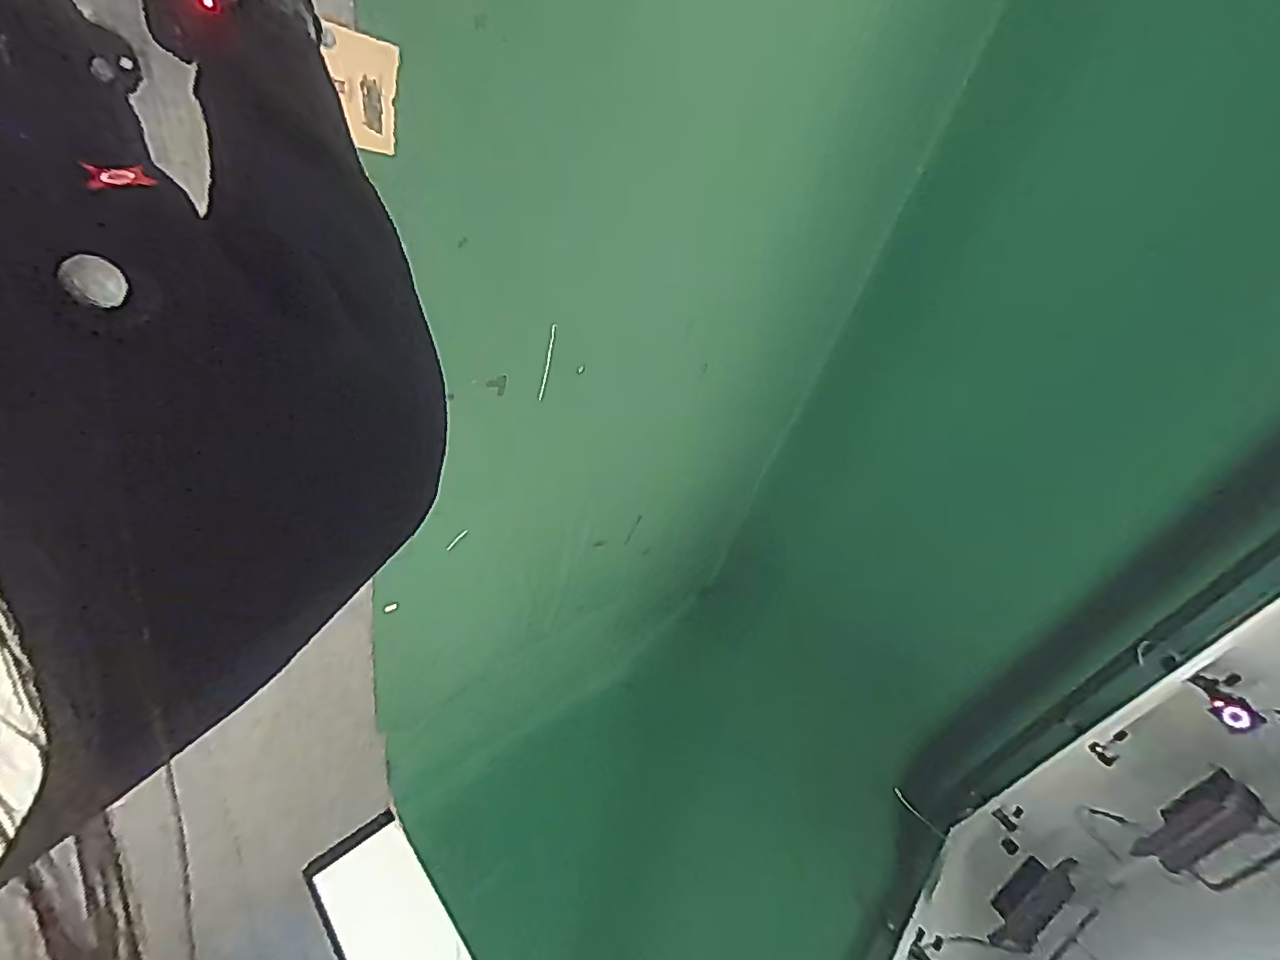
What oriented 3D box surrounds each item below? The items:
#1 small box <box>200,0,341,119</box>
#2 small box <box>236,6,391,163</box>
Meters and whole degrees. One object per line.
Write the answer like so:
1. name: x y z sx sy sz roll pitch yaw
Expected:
1. small box: -0.669 -0.759 0.993 0.179 0.176 0.168 -18 137 -44
2. small box: -0.552 -0.669 0.920 0.179 0.176 0.168 -17 136 -46
